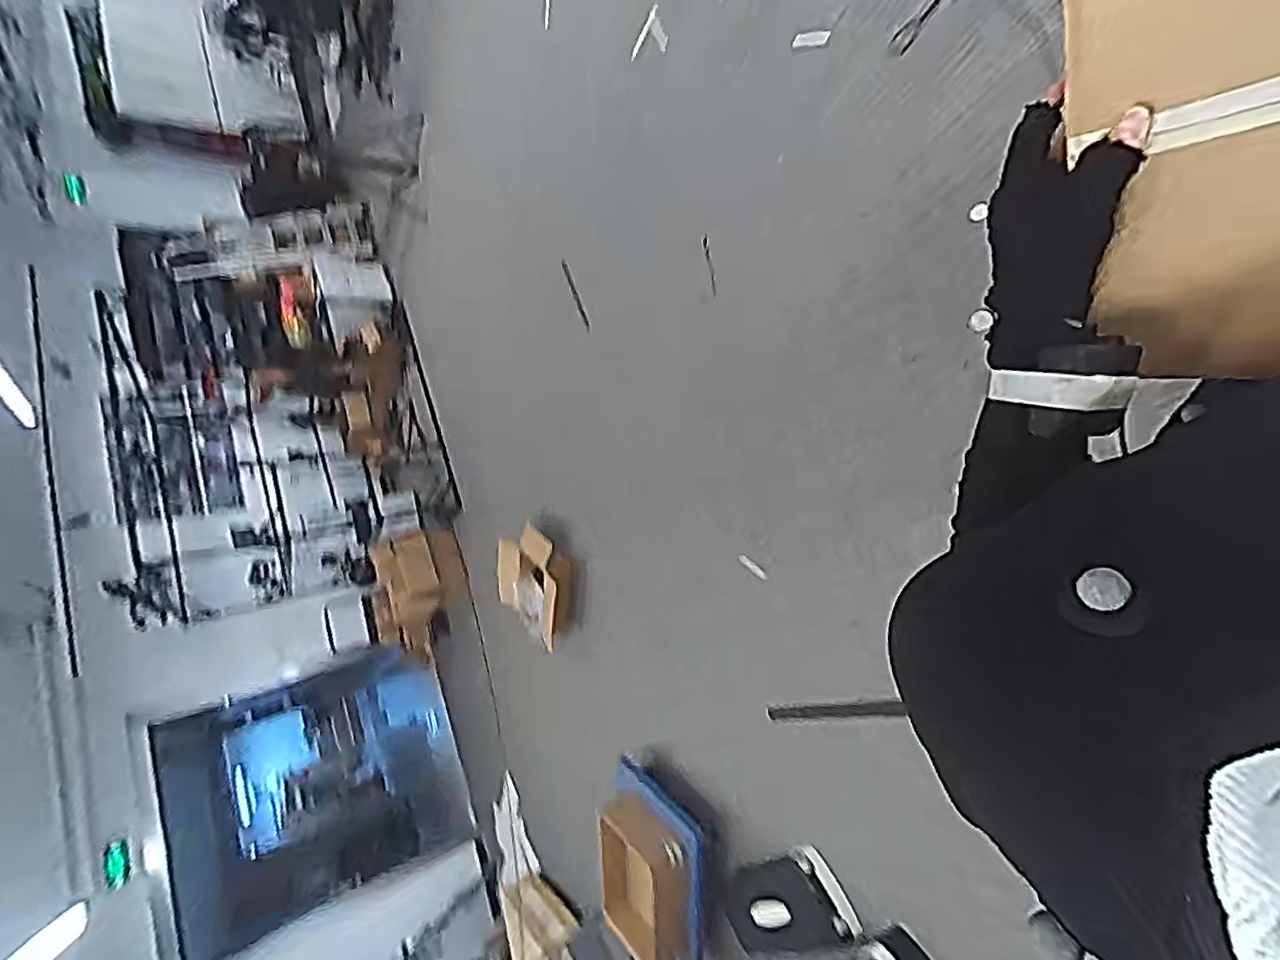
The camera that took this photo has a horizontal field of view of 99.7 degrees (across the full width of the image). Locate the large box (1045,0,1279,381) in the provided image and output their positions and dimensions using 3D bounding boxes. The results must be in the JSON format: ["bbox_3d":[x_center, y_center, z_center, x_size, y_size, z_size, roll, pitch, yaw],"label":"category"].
[{"bbox_3d":[0.496,-0.261,0.264,0.408,0.320,0.320,12,135,53],"label":"large box"}]
